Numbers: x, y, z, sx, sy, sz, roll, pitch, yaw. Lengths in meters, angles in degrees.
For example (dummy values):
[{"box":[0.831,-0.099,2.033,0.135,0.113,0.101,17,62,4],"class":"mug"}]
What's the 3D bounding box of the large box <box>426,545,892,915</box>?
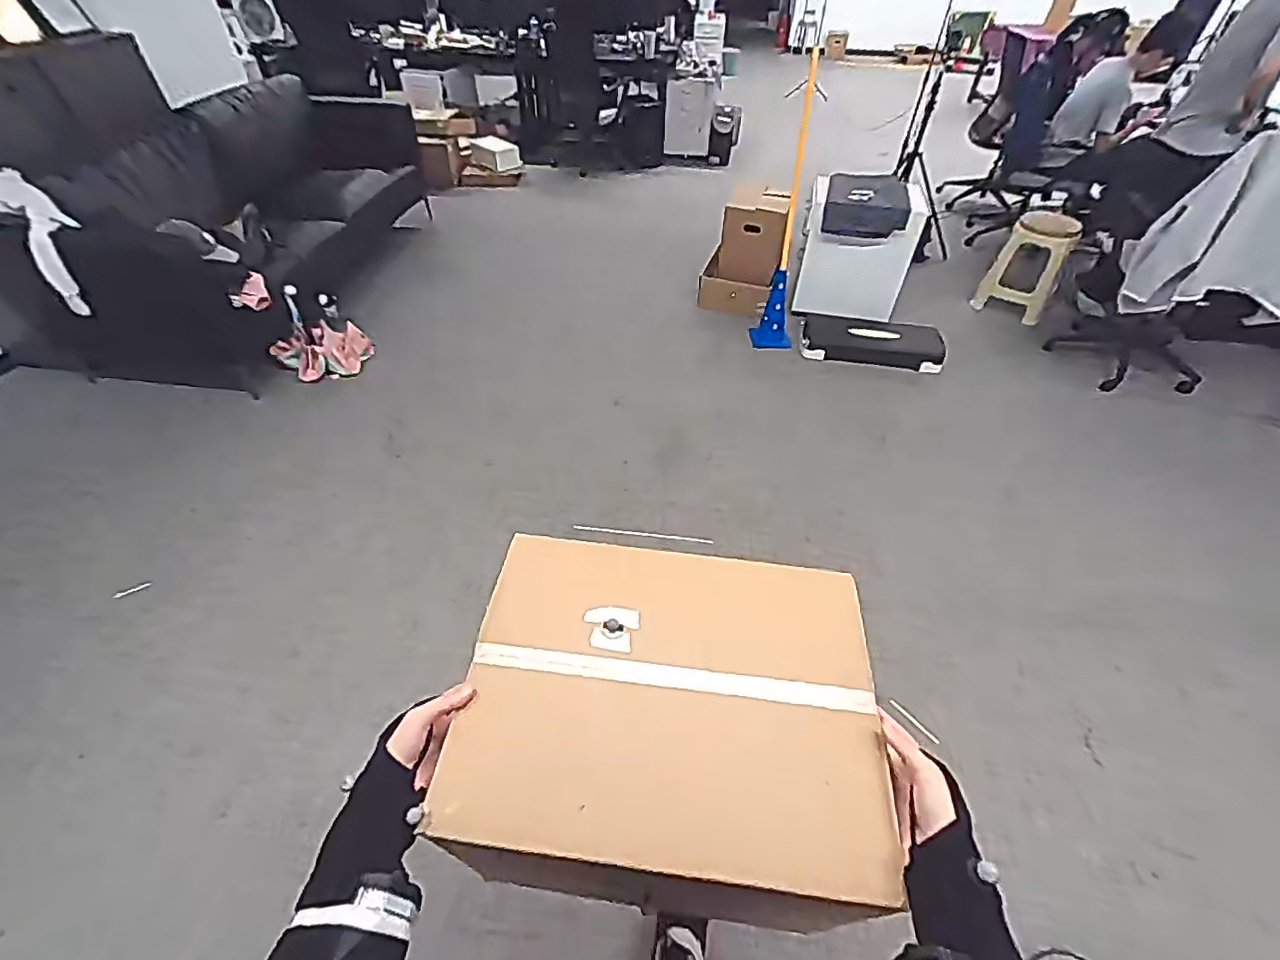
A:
[{"box":[0.026,0.308,0.663,0.408,0.320,0.320,6,46,4],"class":"large box"}]
